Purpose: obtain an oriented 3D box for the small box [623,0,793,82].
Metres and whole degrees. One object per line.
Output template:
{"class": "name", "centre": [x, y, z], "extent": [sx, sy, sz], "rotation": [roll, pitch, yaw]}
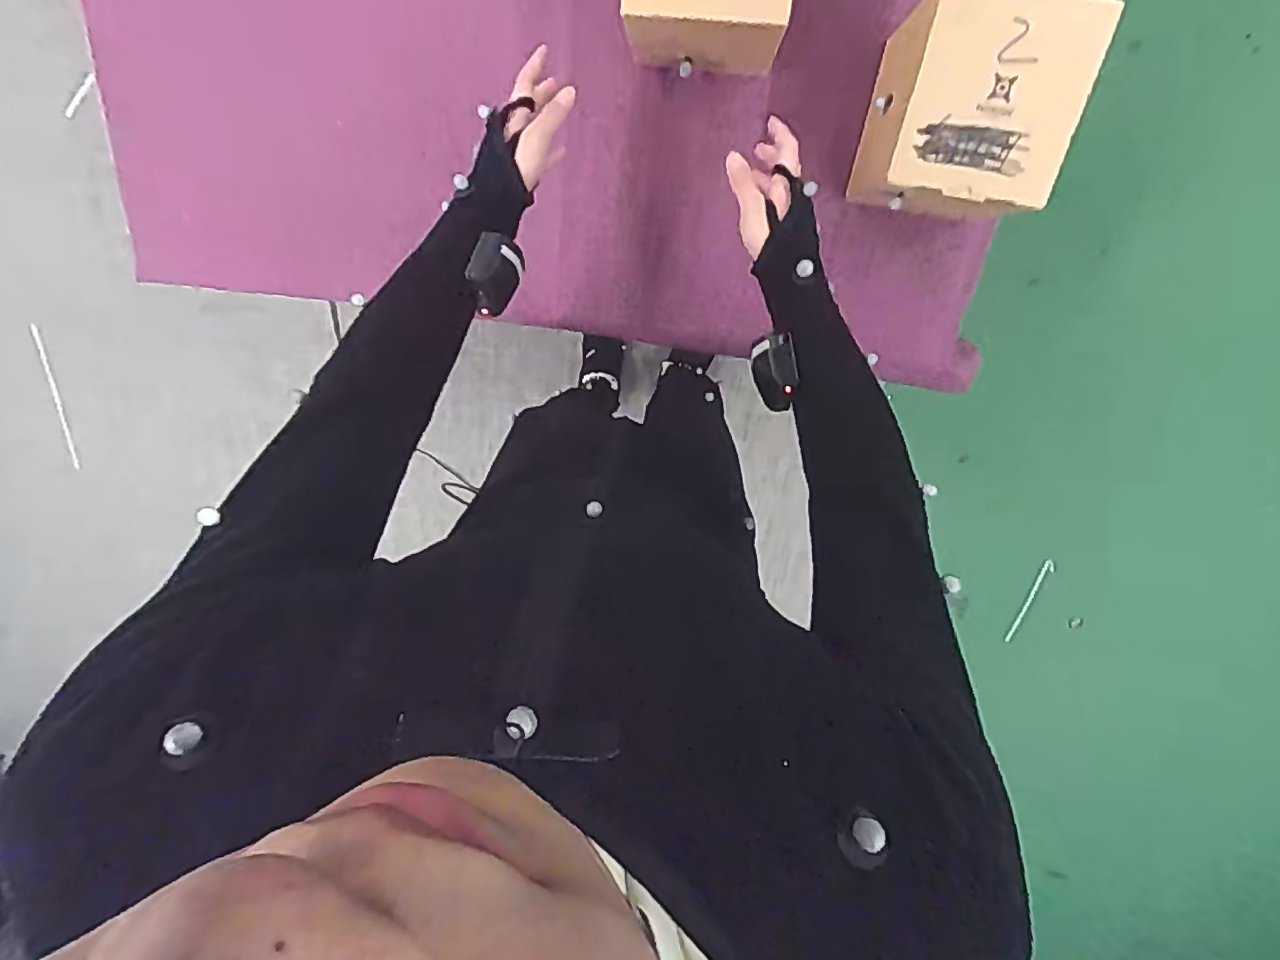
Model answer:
{"class": "small box", "centre": [0.077, -0.553, 0.567], "extent": [0.168, 0.176, 0.179], "rotation": [7, 114, 2]}
